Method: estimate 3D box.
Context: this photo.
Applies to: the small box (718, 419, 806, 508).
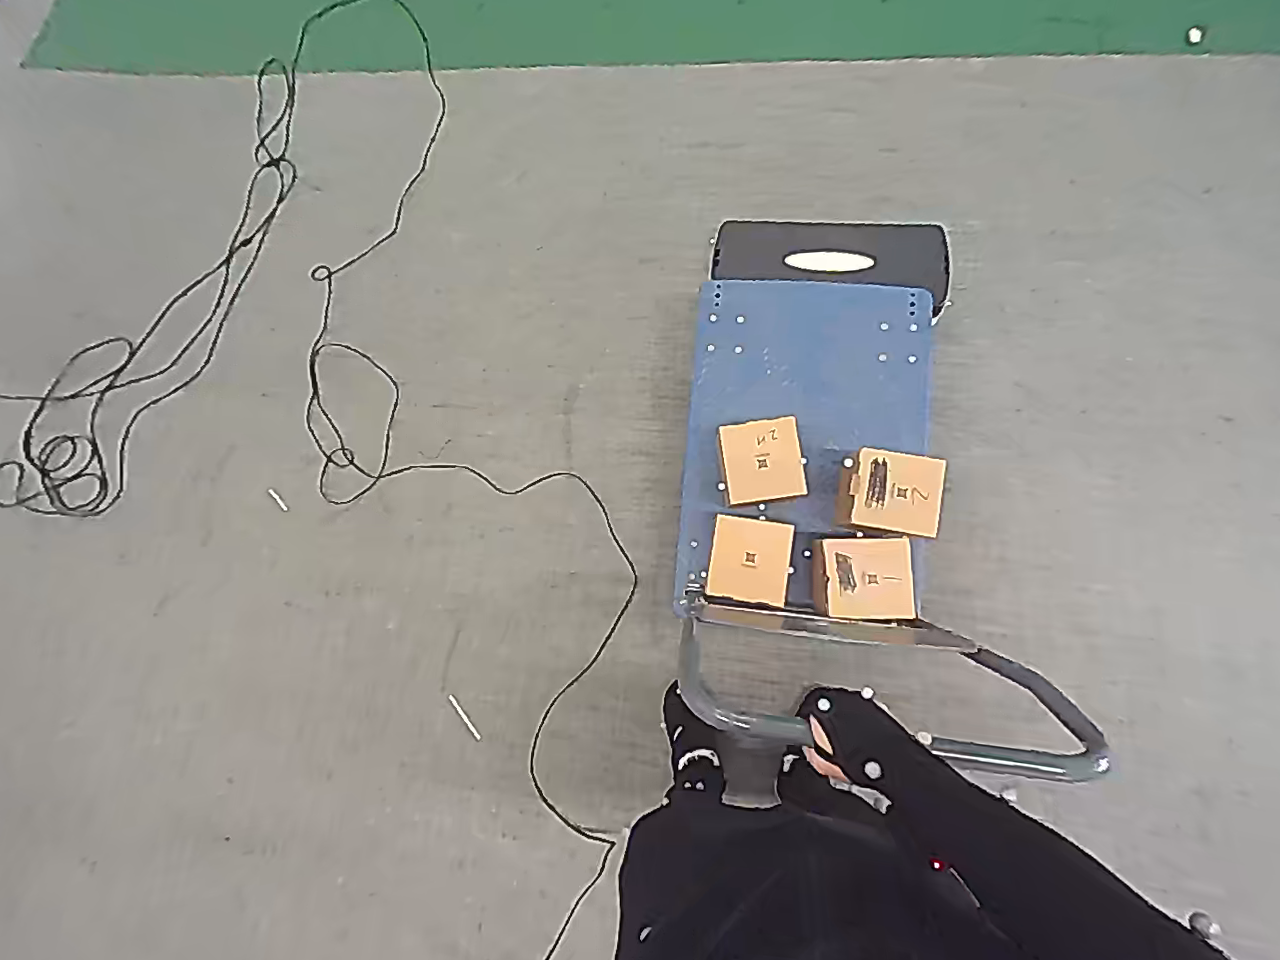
[{"bbox_3d":[0.272,-0.030,1.243,0.168,0.176,0.179,-7,82,4],"label":"small box"}]
